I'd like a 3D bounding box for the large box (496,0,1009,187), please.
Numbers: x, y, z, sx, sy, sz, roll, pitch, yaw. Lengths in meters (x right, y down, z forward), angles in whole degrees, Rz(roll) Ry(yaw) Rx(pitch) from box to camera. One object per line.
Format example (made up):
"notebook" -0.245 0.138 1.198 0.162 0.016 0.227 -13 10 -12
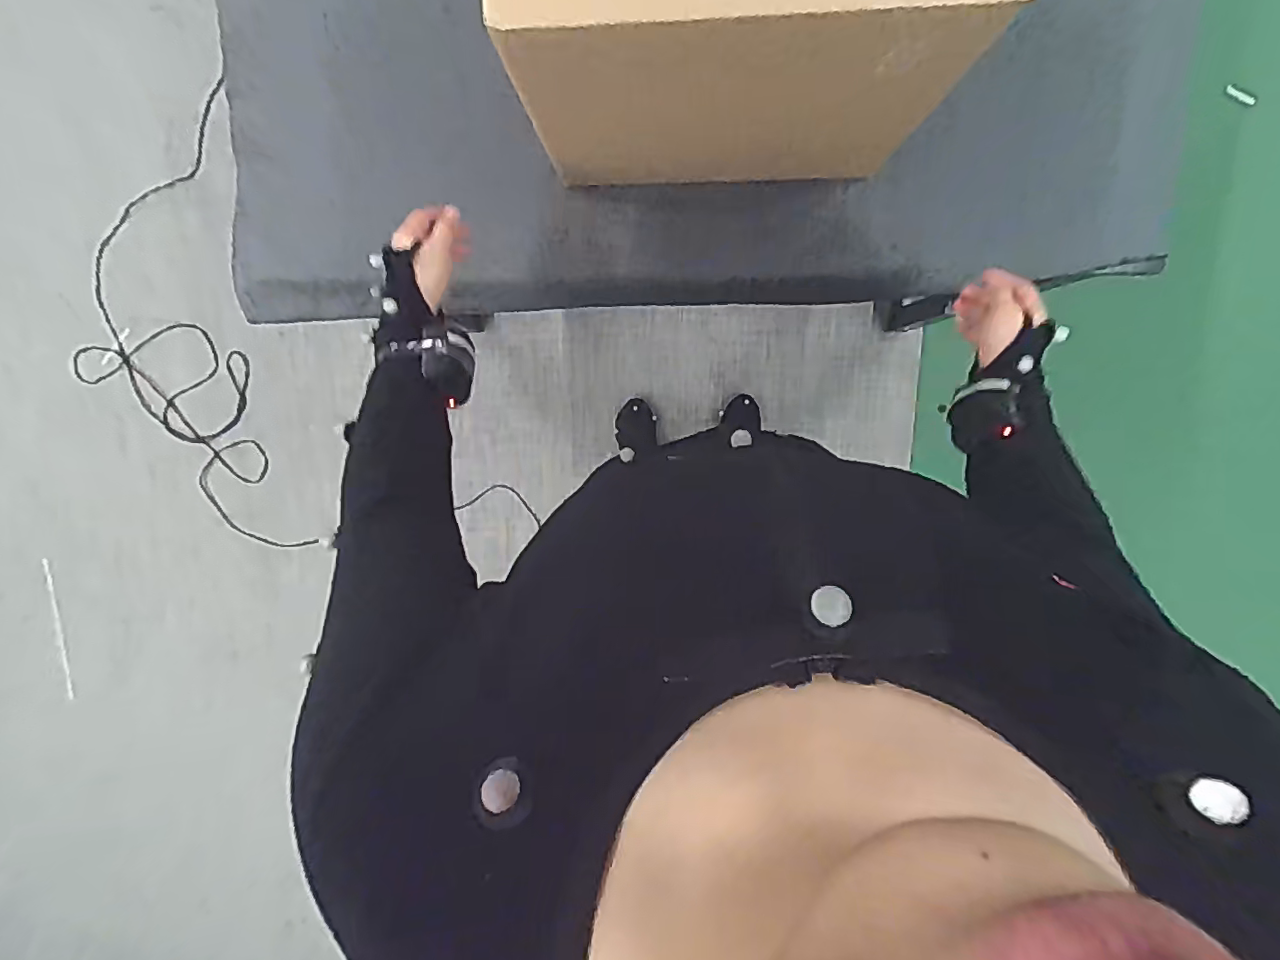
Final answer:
"large box" 0.085 -0.523 0.541 0.408 0.320 0.320 -1 99 3
